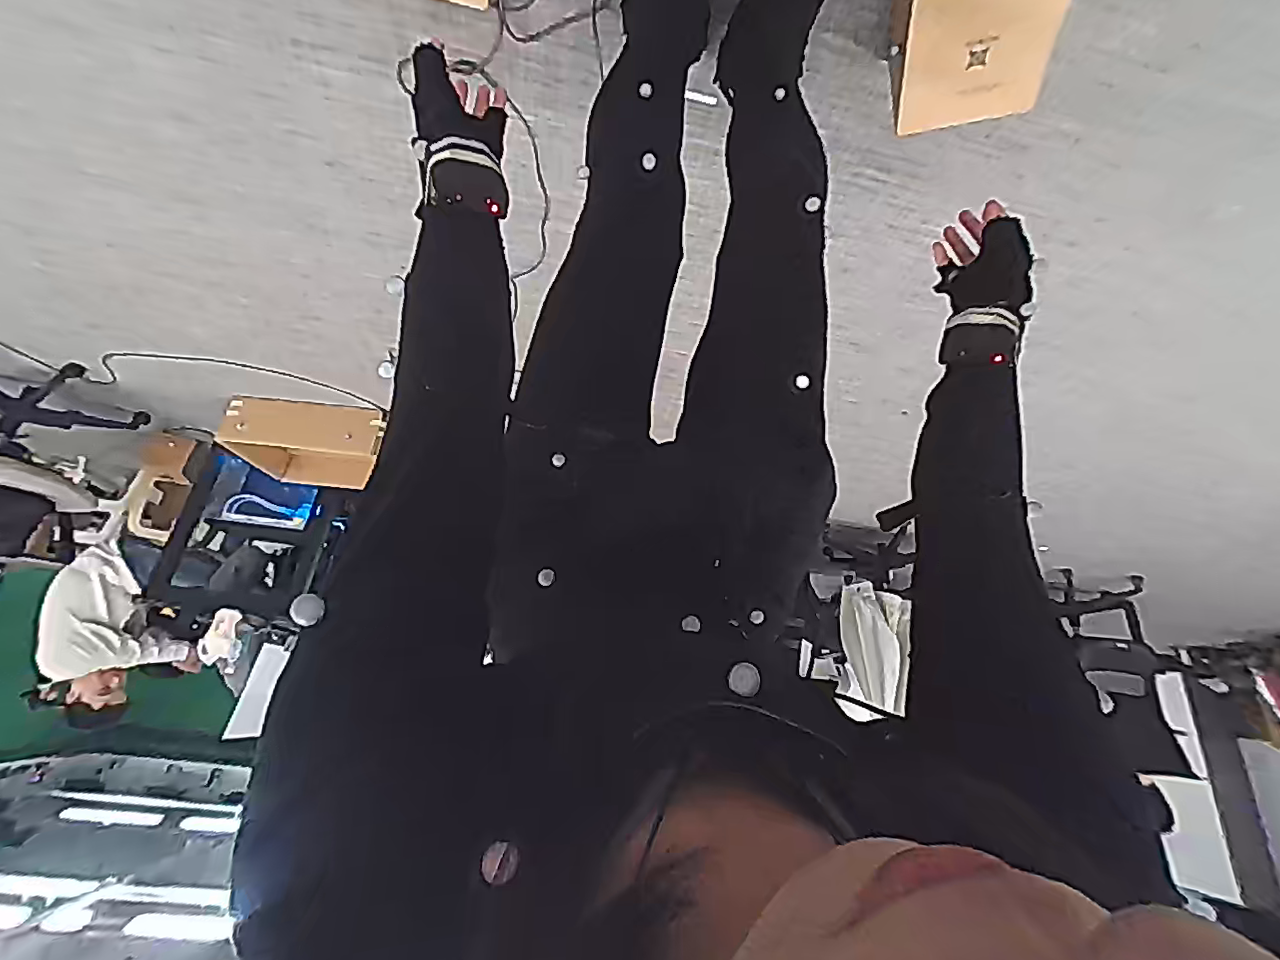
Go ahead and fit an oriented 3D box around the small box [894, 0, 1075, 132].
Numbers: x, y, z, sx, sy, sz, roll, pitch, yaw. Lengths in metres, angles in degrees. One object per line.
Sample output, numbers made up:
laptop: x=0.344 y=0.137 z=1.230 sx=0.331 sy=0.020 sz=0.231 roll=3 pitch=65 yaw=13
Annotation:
small box: x=0.418 y=-0.589 z=0.676 sx=0.168 sy=0.176 sz=0.179 roll=0 pitch=157 yaw=19
